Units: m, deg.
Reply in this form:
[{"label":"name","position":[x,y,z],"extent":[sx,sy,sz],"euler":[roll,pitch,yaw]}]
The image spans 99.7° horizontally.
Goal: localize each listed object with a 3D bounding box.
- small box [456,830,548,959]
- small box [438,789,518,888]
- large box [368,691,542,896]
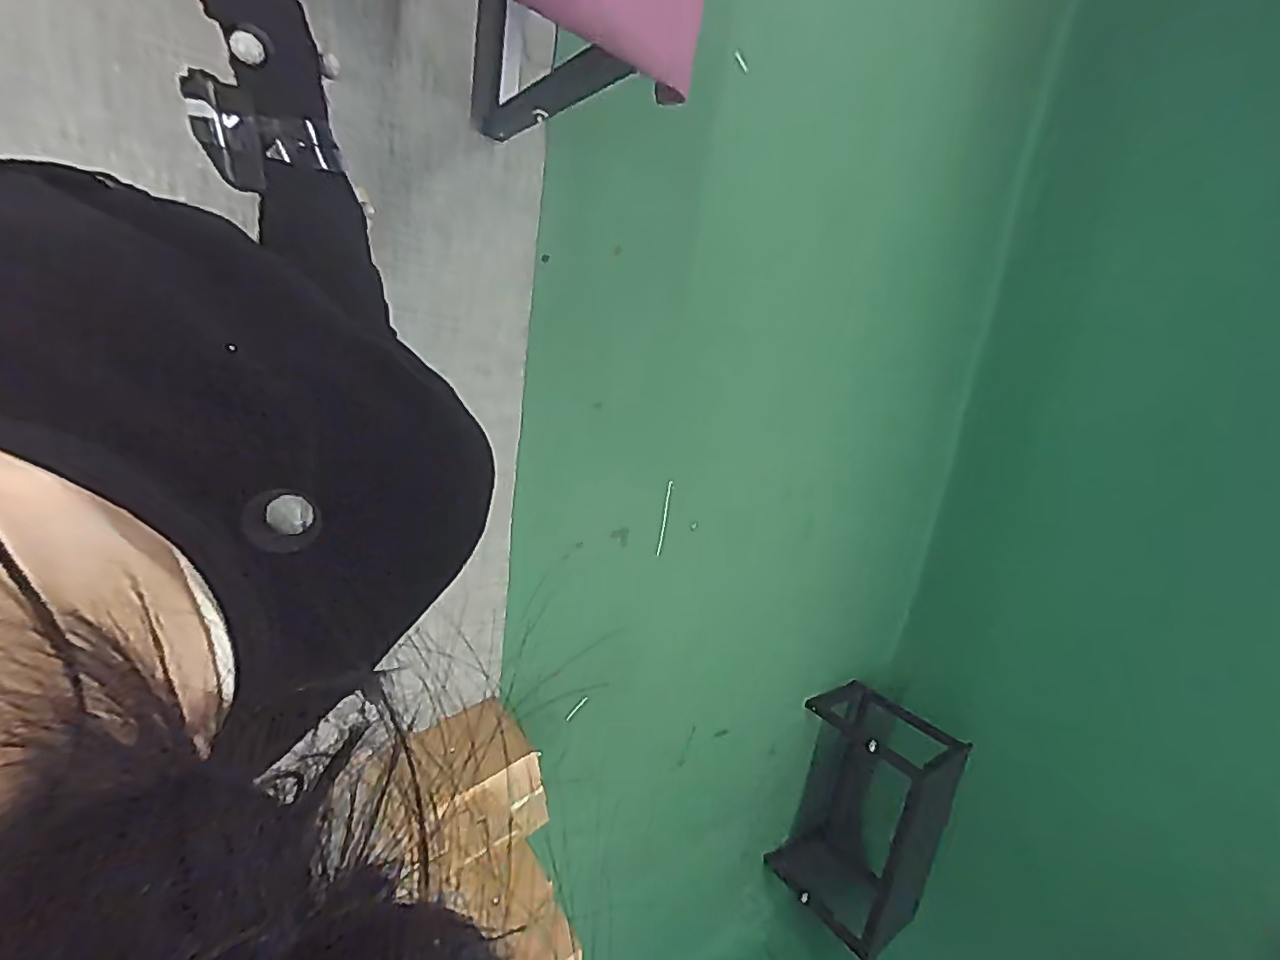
[{"label":"small box","position":[-0.350,1.046,1.375],"extent":[0.179,0.176,0.168],"euler":[-11,112,-36]},{"label":"small box","position":[-0.447,0.997,1.496],"extent":[0.168,0.176,0.179],"euler":[-12,112,-36]},{"label":"large box","position":[-0.577,0.955,1.704],"extent":[0.408,0.320,0.320],"euler":[-20,118,-35]}]
